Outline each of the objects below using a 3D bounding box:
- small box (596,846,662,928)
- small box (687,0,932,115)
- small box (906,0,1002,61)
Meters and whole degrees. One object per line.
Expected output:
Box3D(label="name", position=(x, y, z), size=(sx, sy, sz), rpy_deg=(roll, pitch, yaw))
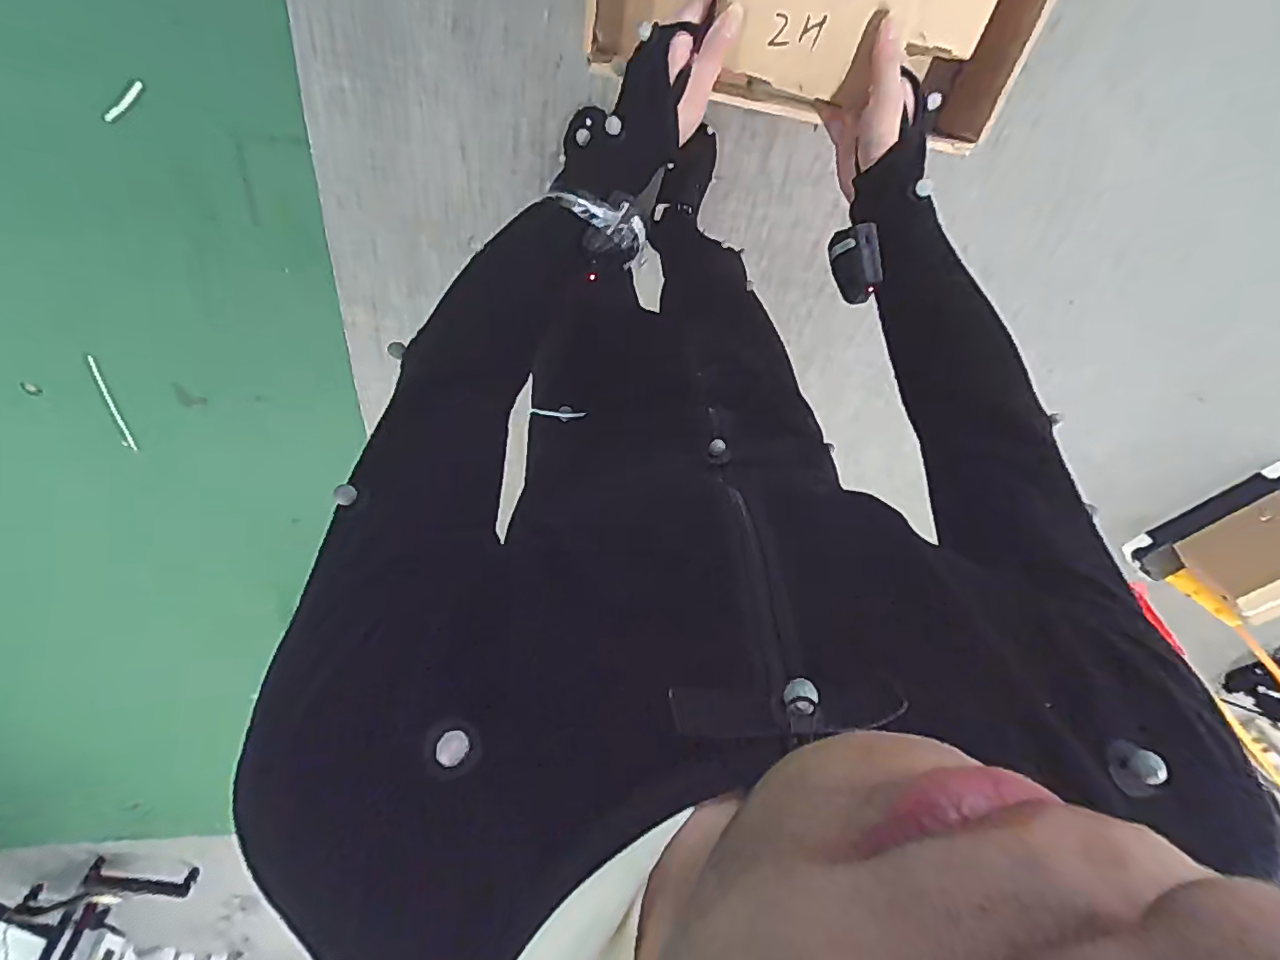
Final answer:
Box3D(label="small box", position=(-0.039, 1.257, 1.676), size=(0.179, 0.176, 0.168), rpy_deg=(2, 129, -10))
Box3D(label="small box", position=(0.151, -0.460, 0.475), size=(0.168, 0.176, 0.179), rpy_deg=(6, 133, -15))
Box3D(label="small box", position=(0.376, -0.687, 0.715), size=(0.168, 0.176, 0.179), rpy_deg=(4, 130, -13))
